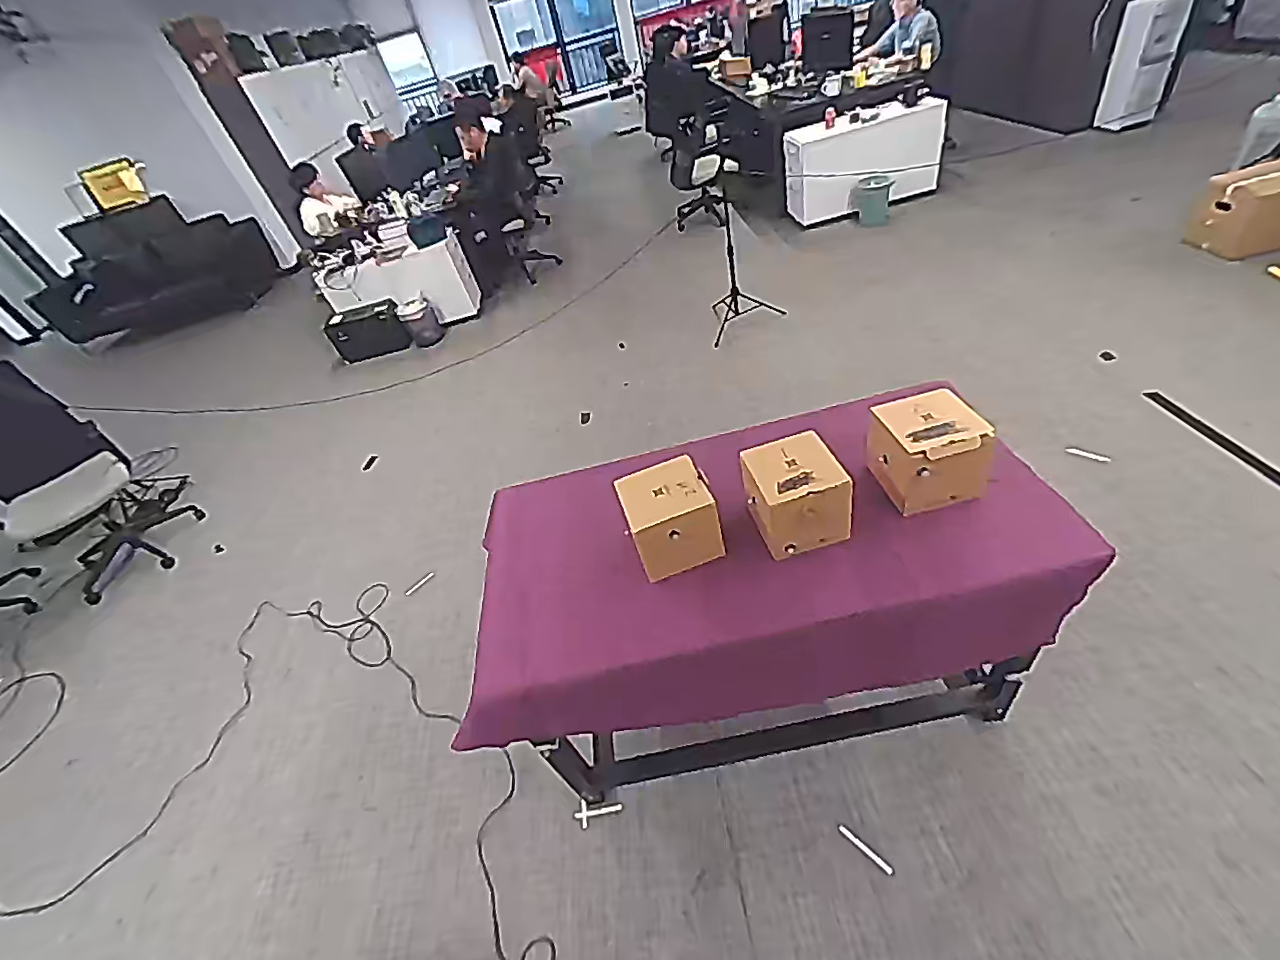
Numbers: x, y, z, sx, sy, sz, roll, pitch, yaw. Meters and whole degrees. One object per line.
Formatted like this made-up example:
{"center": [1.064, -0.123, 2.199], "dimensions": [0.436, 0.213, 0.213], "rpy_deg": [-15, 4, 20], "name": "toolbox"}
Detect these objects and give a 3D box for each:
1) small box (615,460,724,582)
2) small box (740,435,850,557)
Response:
{"center": [0.064, 0.091, 1.159], "dimensions": [0.179, 0.176, 0.168], "rpy_deg": [-20, 42, -3], "name": "small box"}
{"center": [0.323, 0.039, 1.129], "dimensions": [0.168, 0.176, 0.179], "rpy_deg": [-17, 40, 0], "name": "small box"}
